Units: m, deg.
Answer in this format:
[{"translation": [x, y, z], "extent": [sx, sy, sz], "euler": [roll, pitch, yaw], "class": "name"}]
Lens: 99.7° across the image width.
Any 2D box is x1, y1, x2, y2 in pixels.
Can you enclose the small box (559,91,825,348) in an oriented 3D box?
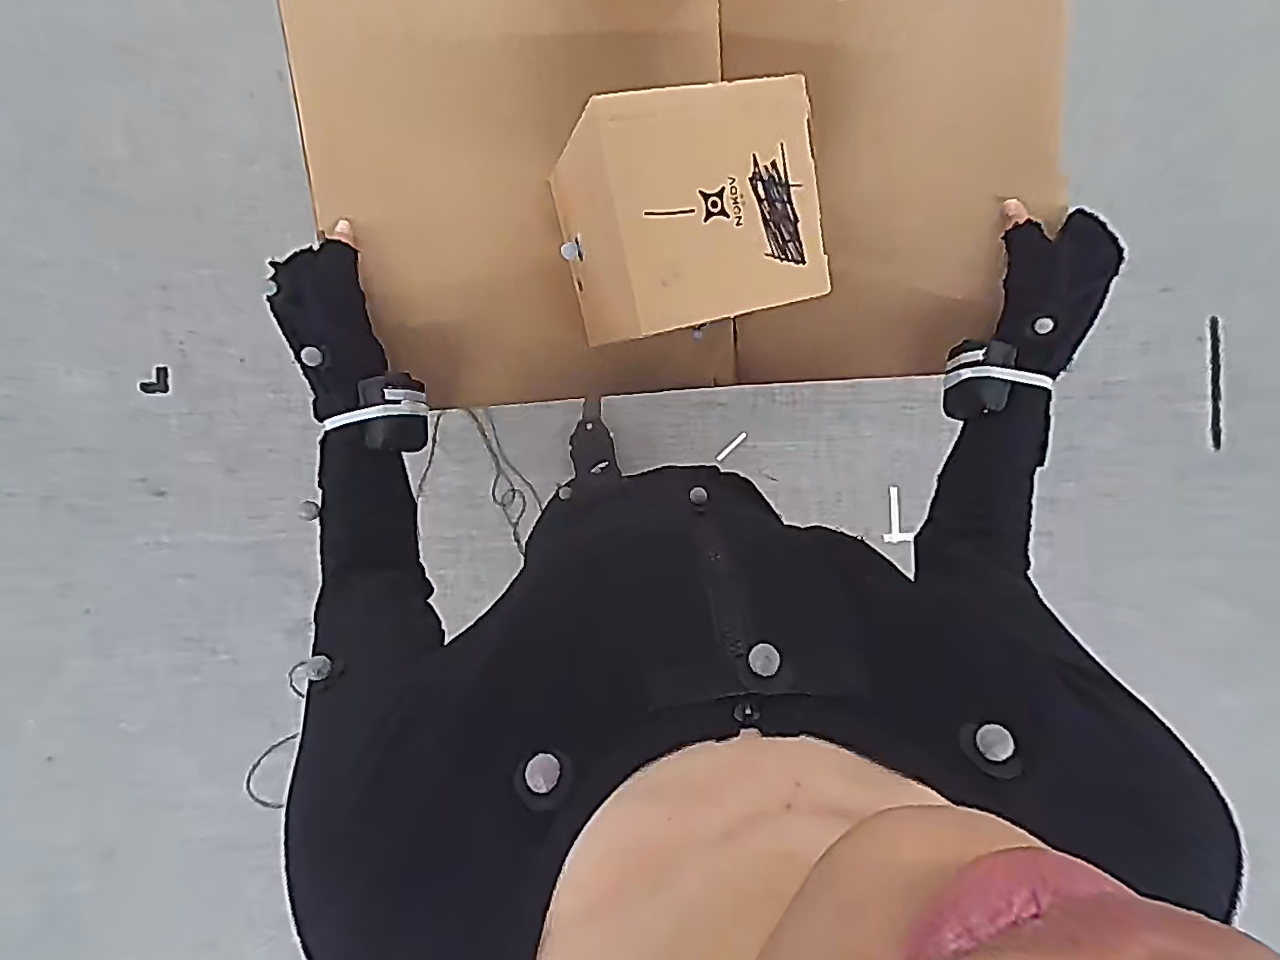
[{"translation": [0.039, -0.223, 0.499], "extent": [0.179, 0.176, 0.168], "euler": [-17, 105, -15], "class": "small box"}]
